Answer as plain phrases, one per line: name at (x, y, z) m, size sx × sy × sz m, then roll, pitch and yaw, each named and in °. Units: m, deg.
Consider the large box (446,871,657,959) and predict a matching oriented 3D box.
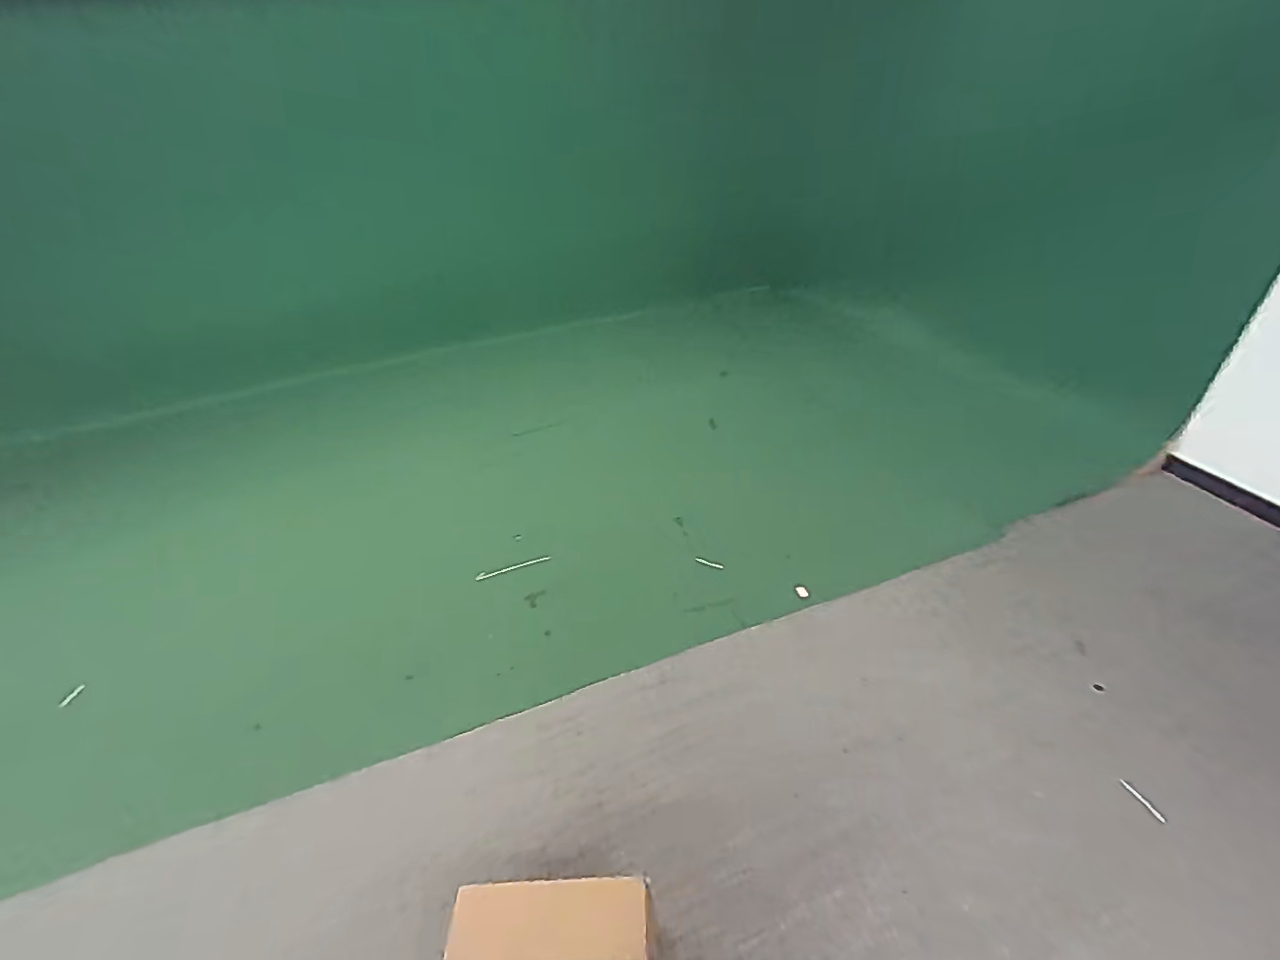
large box at (-0.172, 1.057, 1.117) m, size 0.408 × 0.320 × 0.320 m, roll -4°, pitch 37°, yaw 2°
